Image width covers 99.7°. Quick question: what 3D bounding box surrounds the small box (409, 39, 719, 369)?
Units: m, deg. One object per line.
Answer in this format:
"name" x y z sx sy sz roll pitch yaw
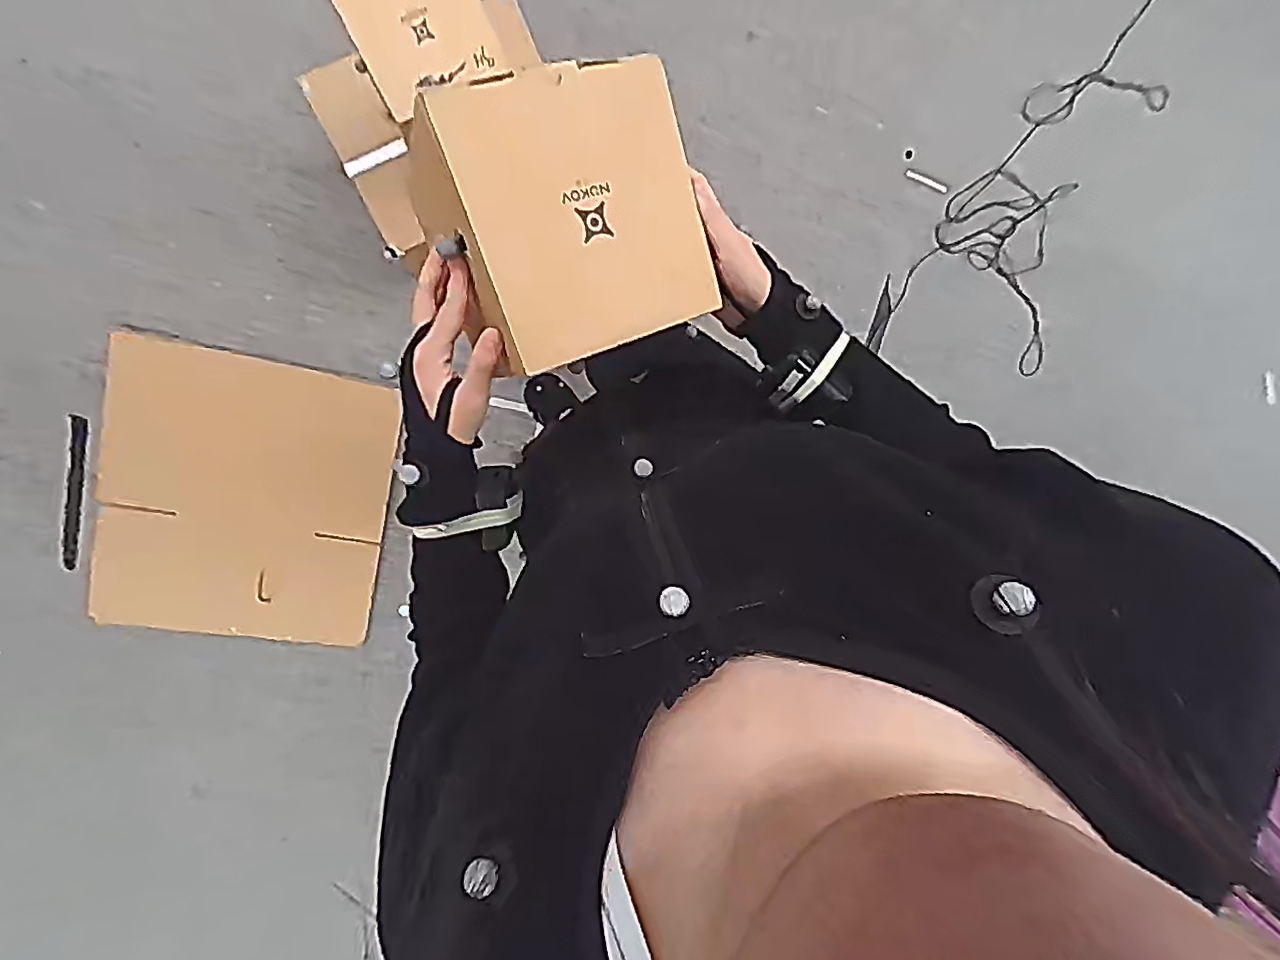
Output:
"small box" -0.067 -0.196 0.431 0.168 0.176 0.179 -26 108 -19

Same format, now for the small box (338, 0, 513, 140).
"small box" -0.284 -0.582 0.739 0.168 0.176 0.179 -28 106 -5

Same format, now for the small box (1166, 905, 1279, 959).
"small box" 1.334 1.087 1.195 0.168 0.176 0.179 15 99 -14
